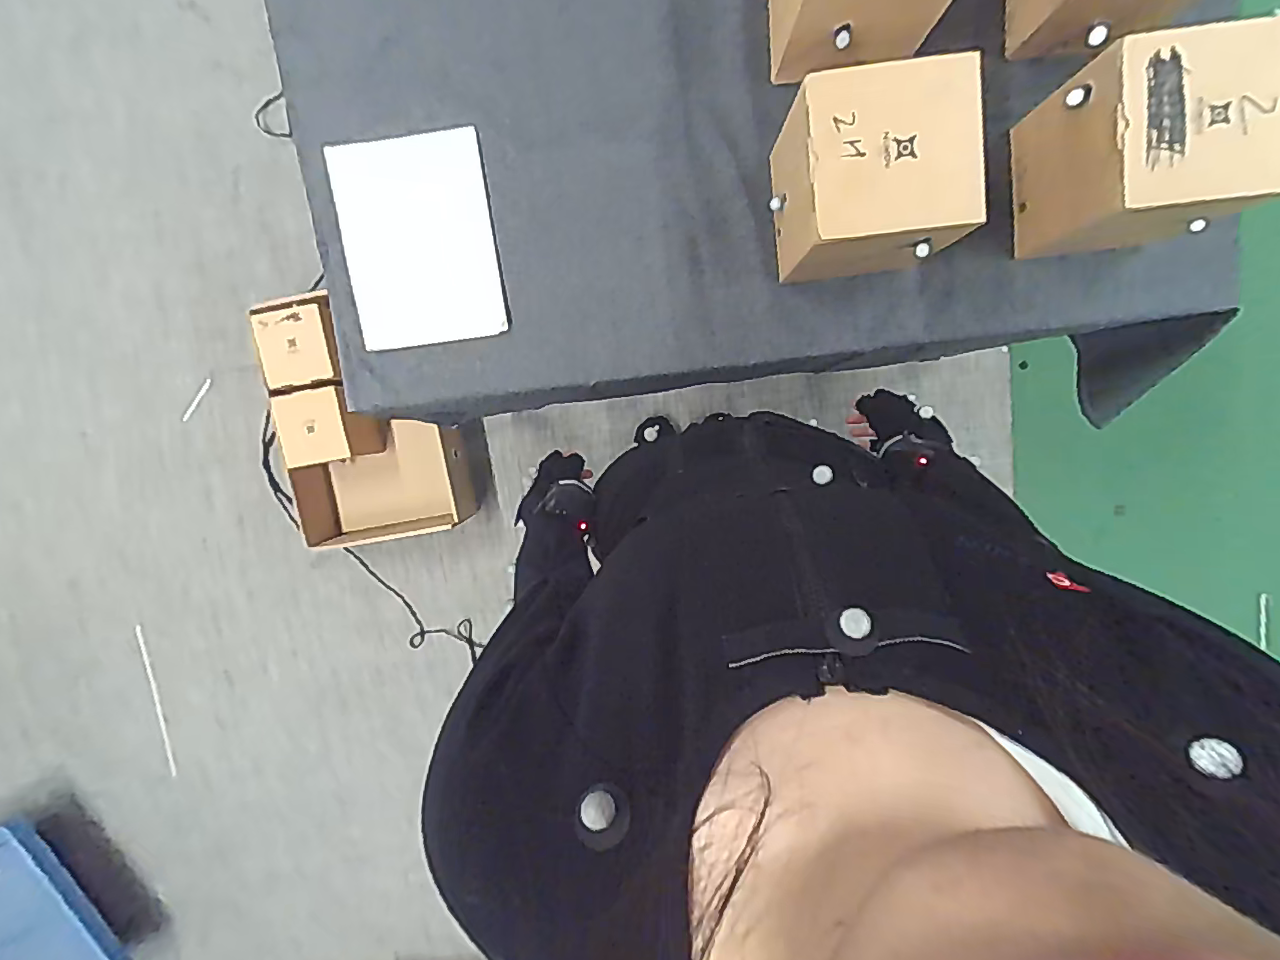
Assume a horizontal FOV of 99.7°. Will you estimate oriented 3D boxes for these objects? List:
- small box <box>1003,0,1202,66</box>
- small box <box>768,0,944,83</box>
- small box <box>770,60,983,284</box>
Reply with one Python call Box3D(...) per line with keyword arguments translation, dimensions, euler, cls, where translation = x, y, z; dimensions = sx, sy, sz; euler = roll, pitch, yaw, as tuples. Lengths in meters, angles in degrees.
Box3D(translation=(0.532, -0.605, 0.593), dimensions=(0.168, 0.176, 0.179), euler=(-3, 97, 3), cls="small box")
Box3D(translation=(0.243, -0.583, 0.608), dimensions=(0.168, 0.176, 0.179), euler=(-3, 96, 2), cls="small box")
Box3D(translation=(0.261, -0.339, 0.629), dimensions=(0.179, 0.176, 0.168), euler=(-5, 95, 3), cls="small box")
